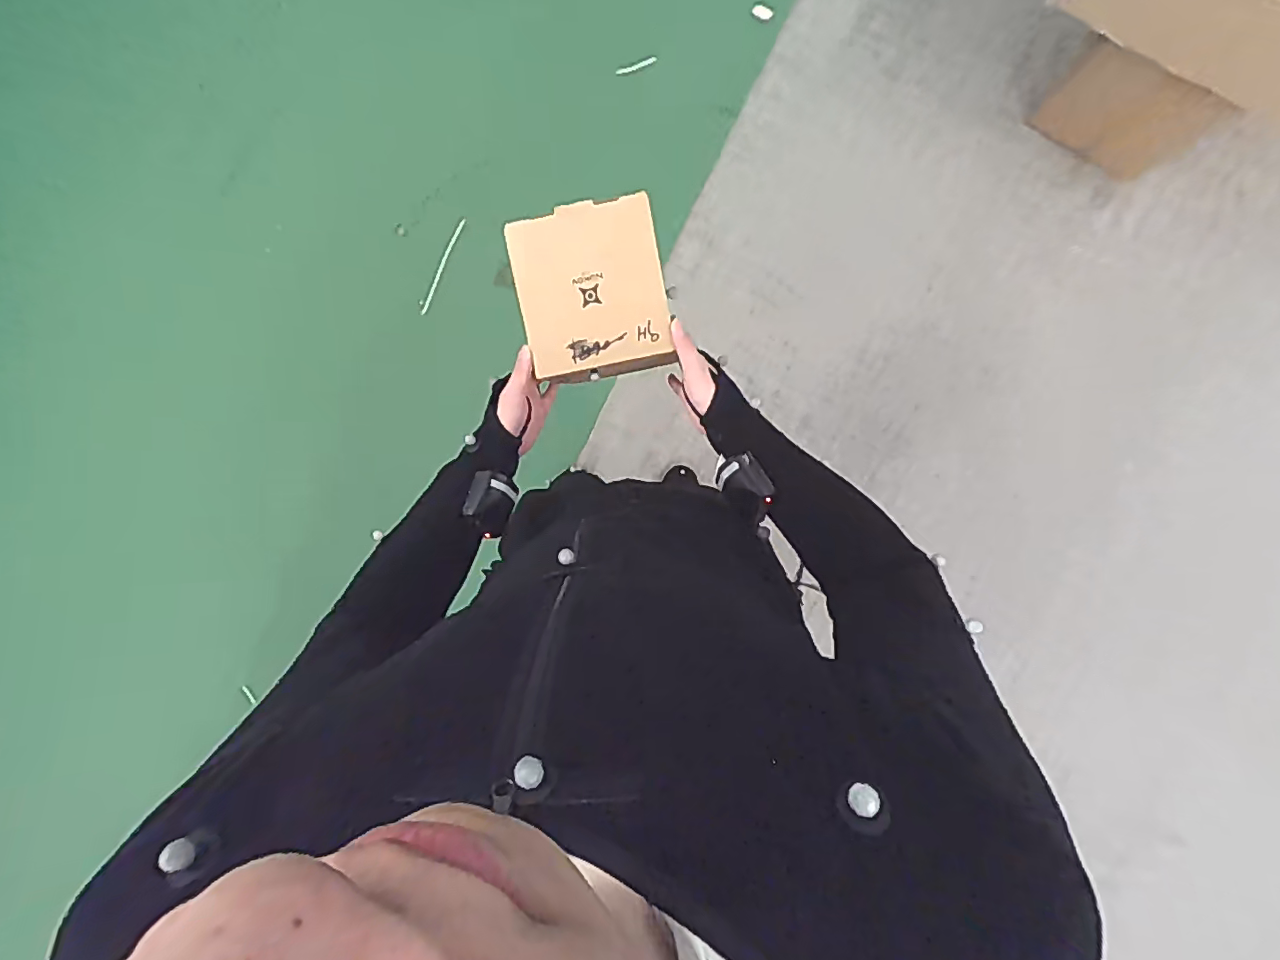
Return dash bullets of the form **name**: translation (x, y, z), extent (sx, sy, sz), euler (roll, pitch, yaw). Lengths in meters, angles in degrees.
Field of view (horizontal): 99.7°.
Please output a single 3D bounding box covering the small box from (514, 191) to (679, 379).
- **small box**: translation (-0.044, -0.233, 0.690), extent (0.168, 0.176, 0.179), euler (-9, 97, 7)
